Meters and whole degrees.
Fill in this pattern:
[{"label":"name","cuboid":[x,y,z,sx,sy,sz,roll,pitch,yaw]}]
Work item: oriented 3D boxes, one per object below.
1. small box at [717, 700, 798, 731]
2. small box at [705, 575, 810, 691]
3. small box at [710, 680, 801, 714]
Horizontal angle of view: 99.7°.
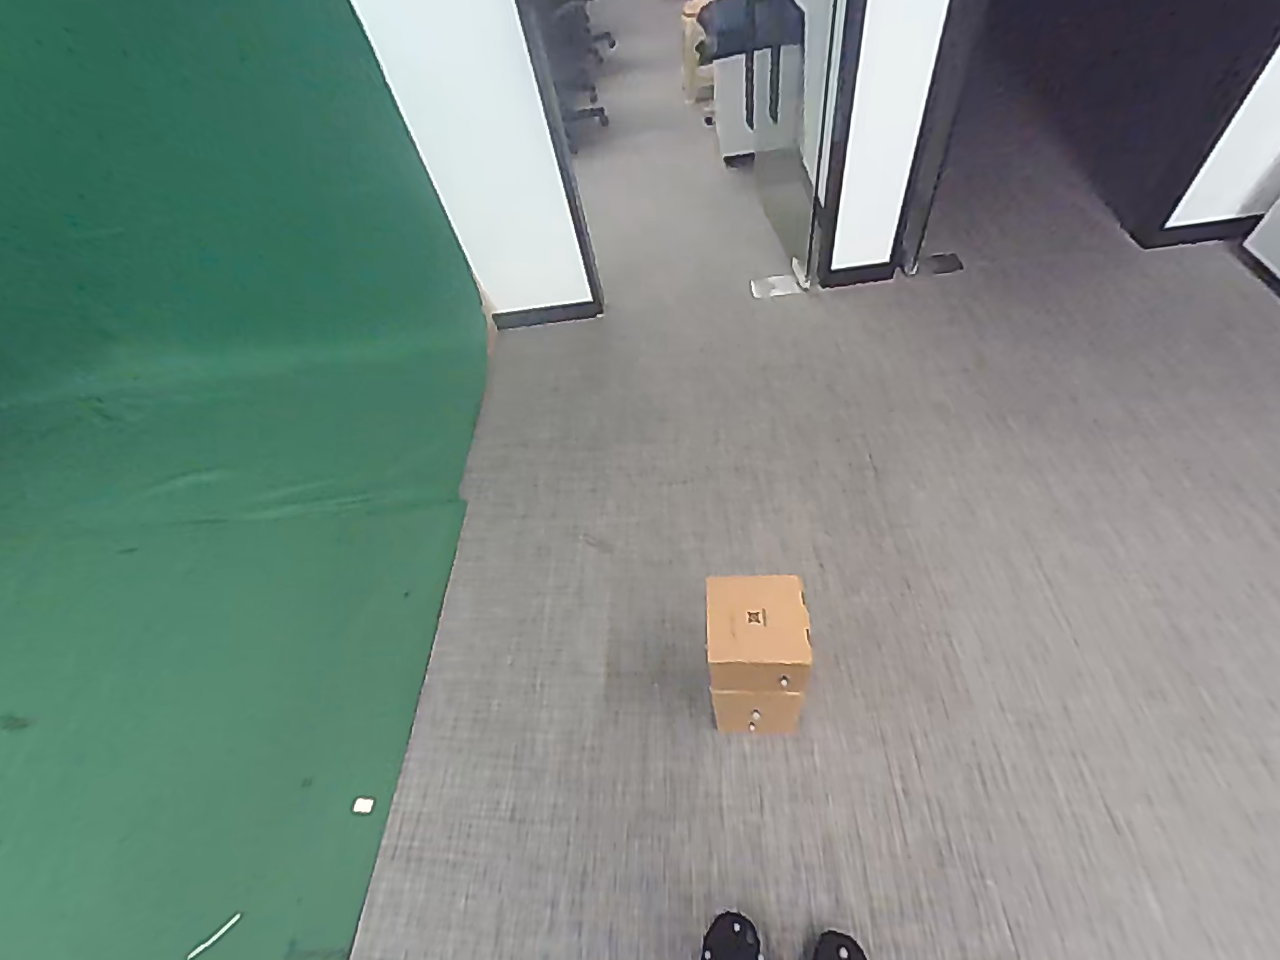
[{"label":"small box","cuboid":[0.267,0.491,1.284,0.179,0.176,0.168,-5,53,6]},{"label":"small box","cuboid":[0.217,0.294,1.030,0.179,0.176,0.168,-4,52,9]},{"label":"small box","cuboid":[0.239,0.393,1.156,0.179,0.176,0.168,-2,53,9]}]
